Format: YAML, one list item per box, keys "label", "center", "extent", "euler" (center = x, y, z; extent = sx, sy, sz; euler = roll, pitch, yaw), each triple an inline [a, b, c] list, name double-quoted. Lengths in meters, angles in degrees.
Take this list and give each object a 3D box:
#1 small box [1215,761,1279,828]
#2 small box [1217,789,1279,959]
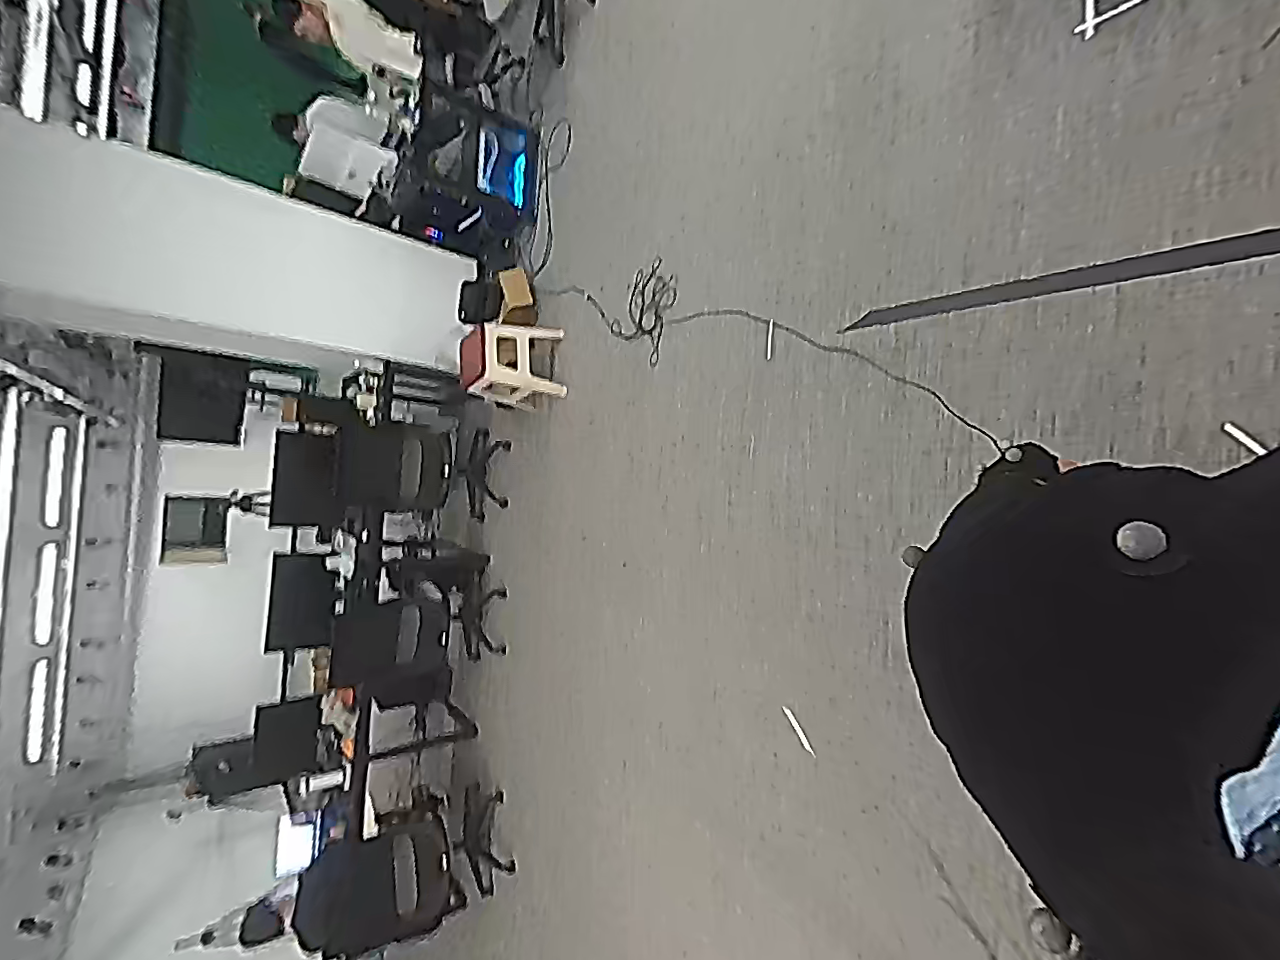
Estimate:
- label: "small box"
  center: [1.112, 0.602, 0.909]
  extent: [0.168, 0.176, 0.179]
  euler: [-15, 75, 49]
- label: "small box"
  center: [0.990, 0.601, 0.801]
  extent: [0.168, 0.176, 0.179]
  euler: [4, 90, 51]
